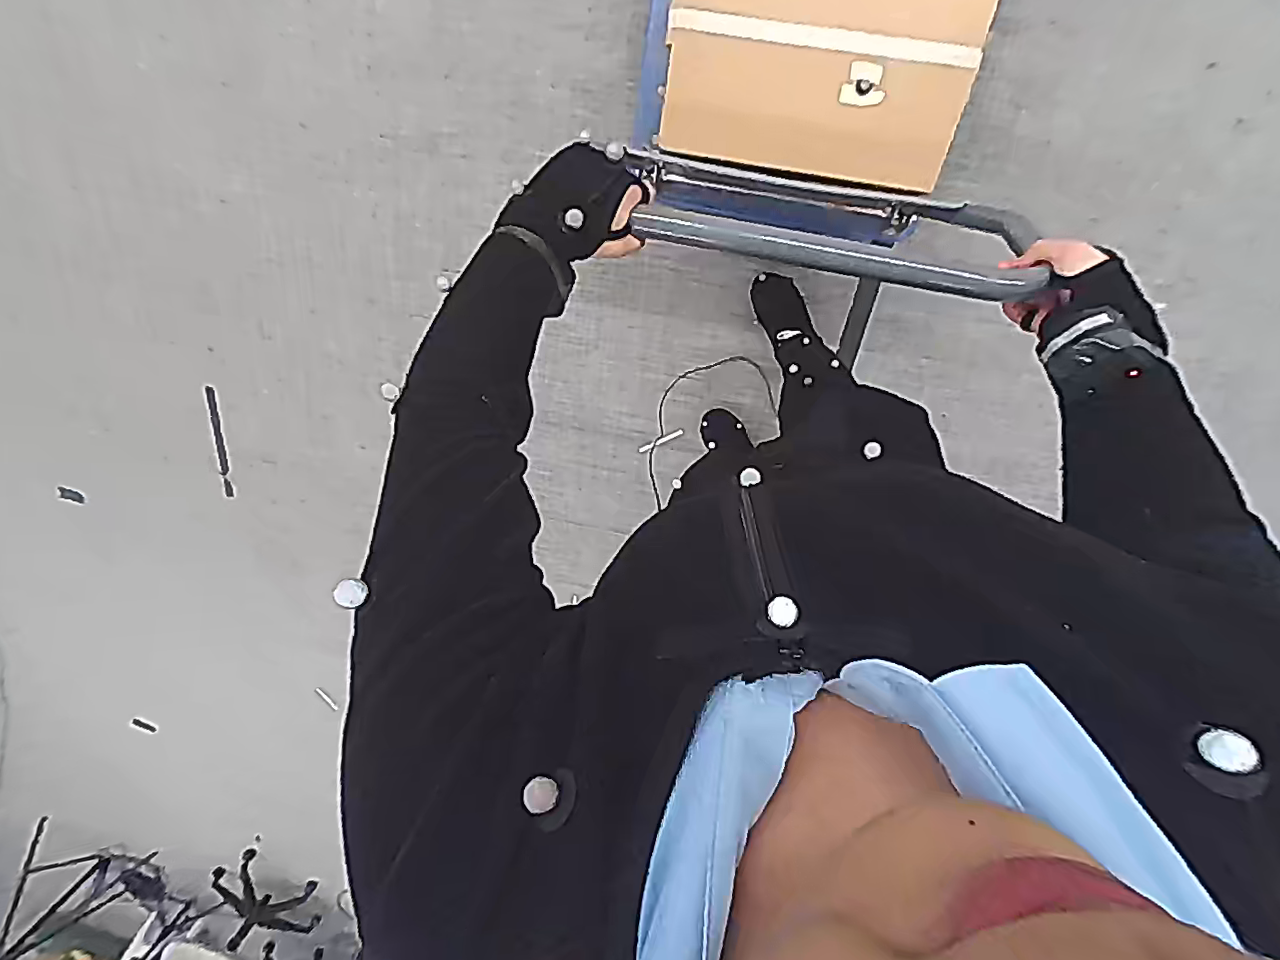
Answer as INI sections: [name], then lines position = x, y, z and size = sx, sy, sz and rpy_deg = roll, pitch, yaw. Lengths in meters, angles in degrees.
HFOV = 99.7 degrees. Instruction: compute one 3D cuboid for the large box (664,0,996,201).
[large box]
position = 0.268, -0.648, 0.862
size = 0.408, 0.320, 0.320
rpy_deg = 11, 118, 4
